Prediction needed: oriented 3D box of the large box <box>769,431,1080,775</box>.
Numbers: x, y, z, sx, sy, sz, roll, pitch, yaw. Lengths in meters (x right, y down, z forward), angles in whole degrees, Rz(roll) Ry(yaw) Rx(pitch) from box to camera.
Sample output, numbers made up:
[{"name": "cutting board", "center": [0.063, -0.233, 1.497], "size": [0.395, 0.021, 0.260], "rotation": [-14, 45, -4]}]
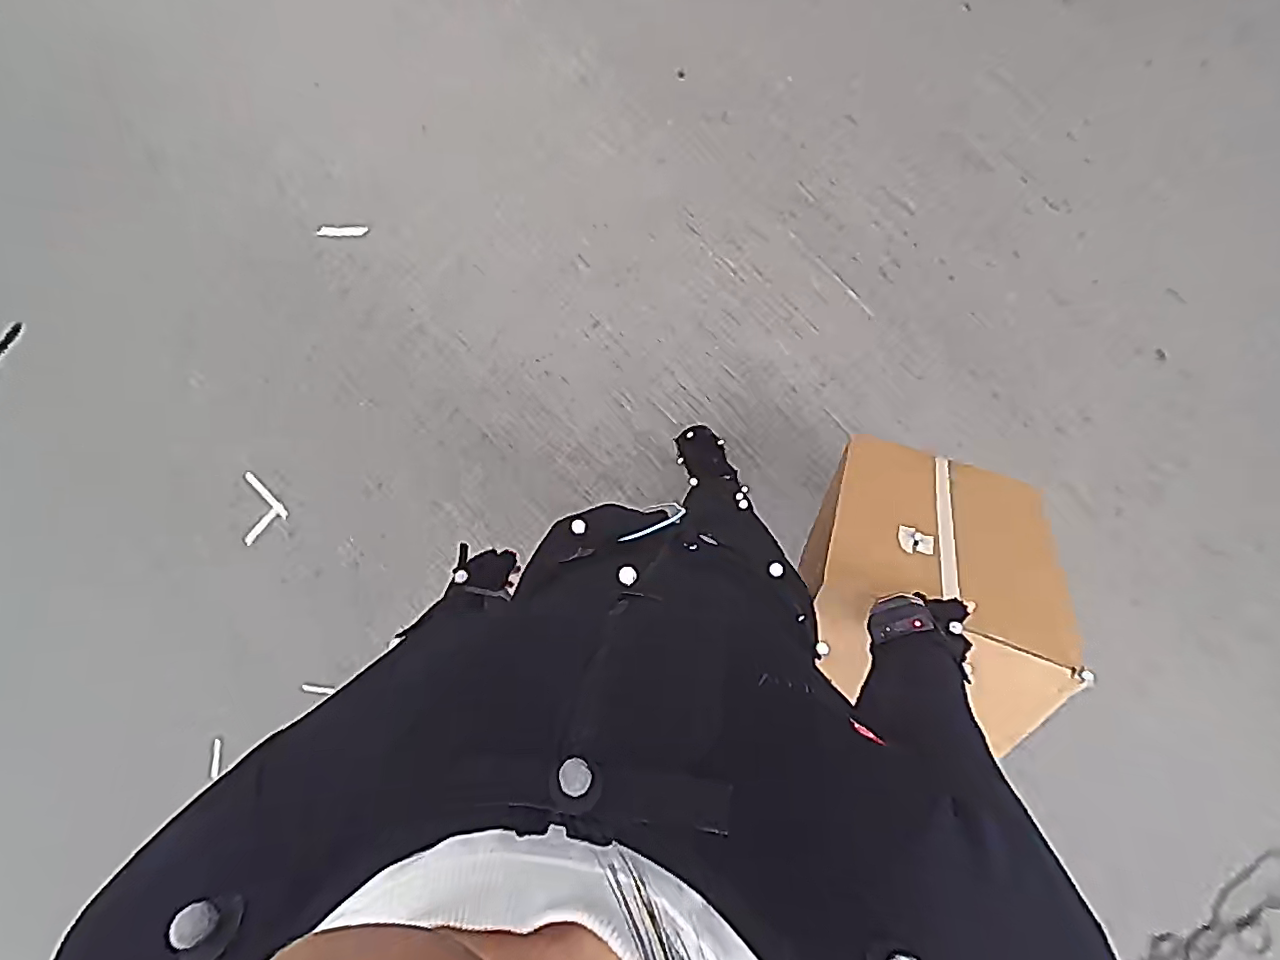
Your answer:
[{"name": "large box", "center": [0.434, 0.180, 0.902], "size": [0.320, 0.408, 0.320], "rotation": [17, 131, 16]}]
